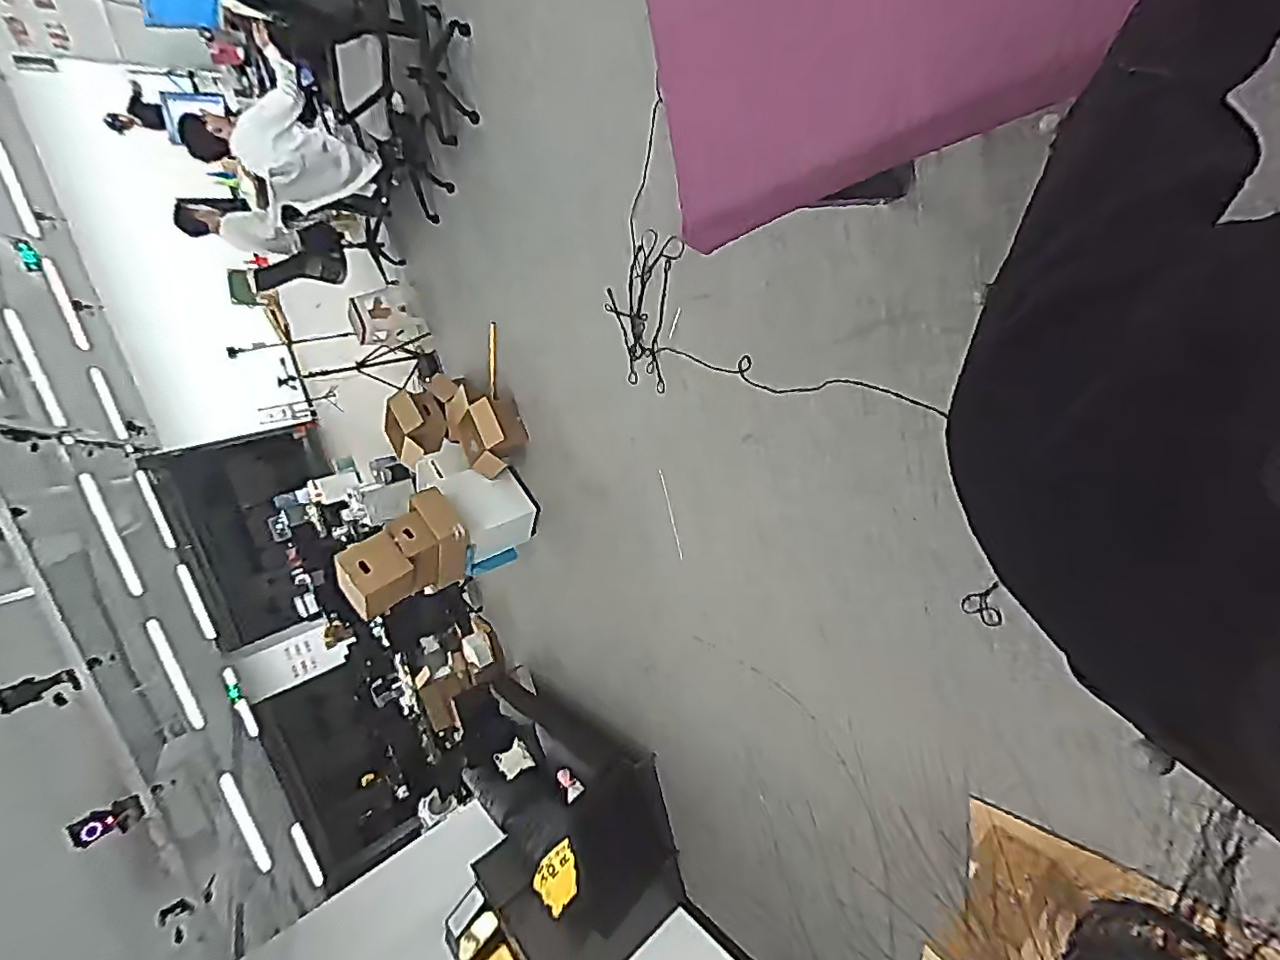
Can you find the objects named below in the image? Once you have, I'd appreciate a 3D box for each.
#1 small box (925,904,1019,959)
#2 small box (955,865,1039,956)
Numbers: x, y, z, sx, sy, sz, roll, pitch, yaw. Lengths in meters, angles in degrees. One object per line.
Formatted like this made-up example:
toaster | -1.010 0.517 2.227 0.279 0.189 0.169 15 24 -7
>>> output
small box | 0.905 1.330 1.479 0.179 0.176 0.168 20 124 47
small box | 1.026 1.291 1.582 0.168 0.176 0.179 30 131 43
